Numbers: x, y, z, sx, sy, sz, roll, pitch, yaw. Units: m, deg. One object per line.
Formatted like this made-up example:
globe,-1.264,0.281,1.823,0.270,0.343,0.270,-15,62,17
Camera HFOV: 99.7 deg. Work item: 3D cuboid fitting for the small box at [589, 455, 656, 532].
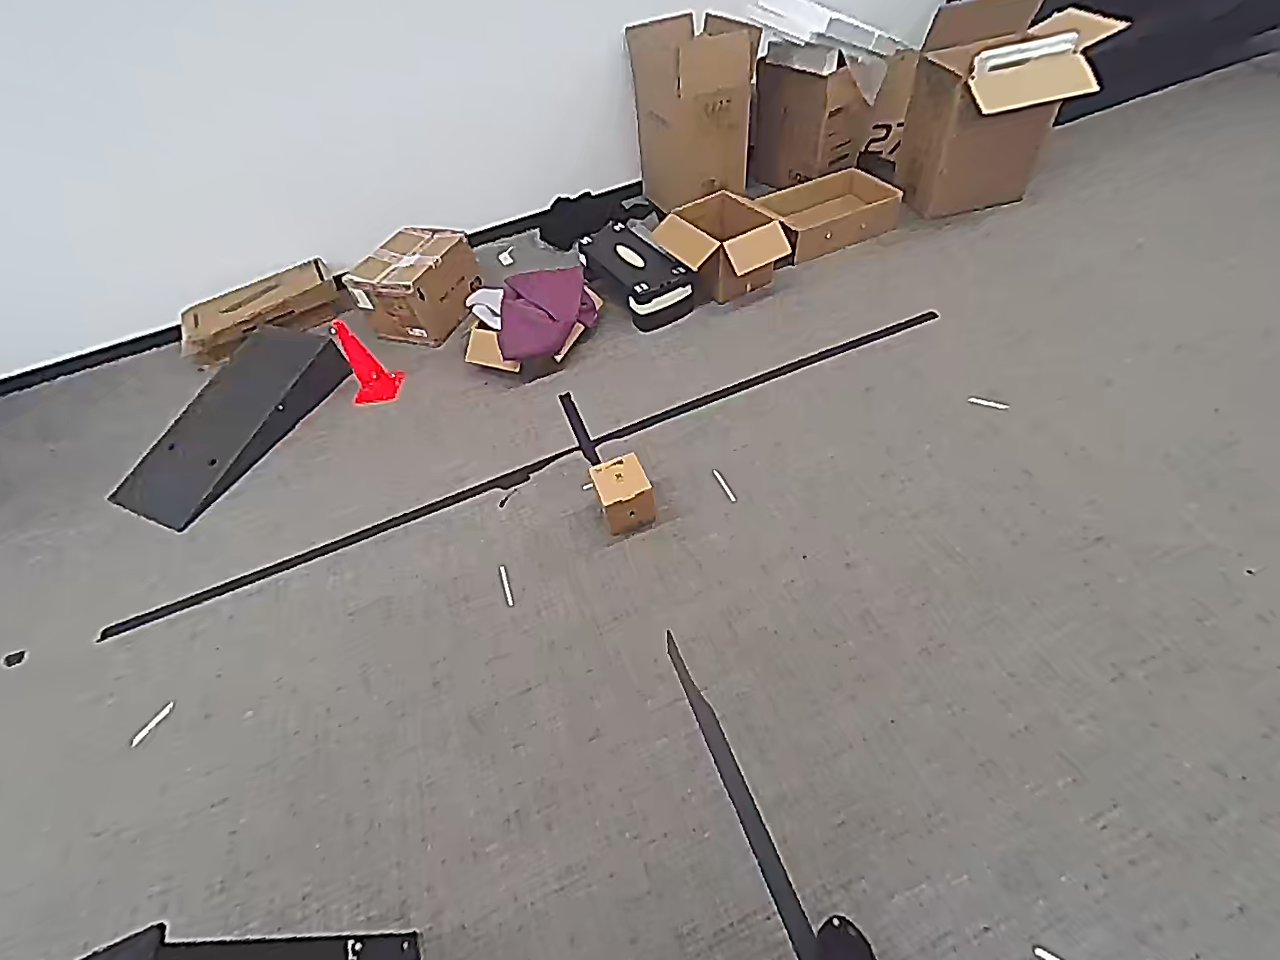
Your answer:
small box,-0.054,0.053,1.802,0.168,0.176,0.179,-20,51,-7
